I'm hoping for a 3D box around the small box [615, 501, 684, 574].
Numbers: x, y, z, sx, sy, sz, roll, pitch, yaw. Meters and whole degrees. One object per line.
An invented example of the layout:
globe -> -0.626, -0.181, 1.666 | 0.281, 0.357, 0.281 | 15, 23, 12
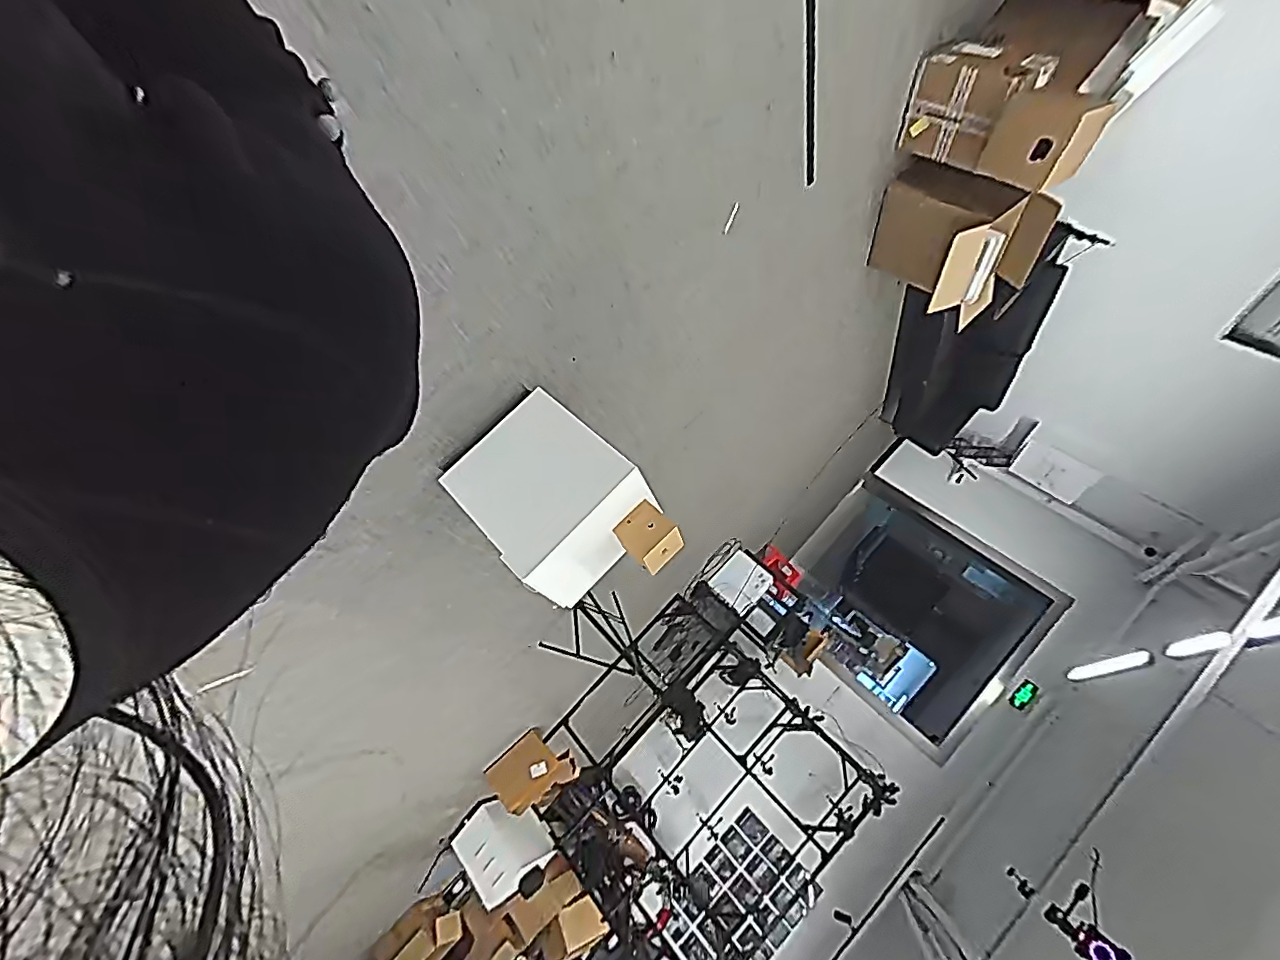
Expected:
small box -> 0.033, 0.201, 1.941 | 0.168, 0.176, 0.179 | -43, 151, -11
